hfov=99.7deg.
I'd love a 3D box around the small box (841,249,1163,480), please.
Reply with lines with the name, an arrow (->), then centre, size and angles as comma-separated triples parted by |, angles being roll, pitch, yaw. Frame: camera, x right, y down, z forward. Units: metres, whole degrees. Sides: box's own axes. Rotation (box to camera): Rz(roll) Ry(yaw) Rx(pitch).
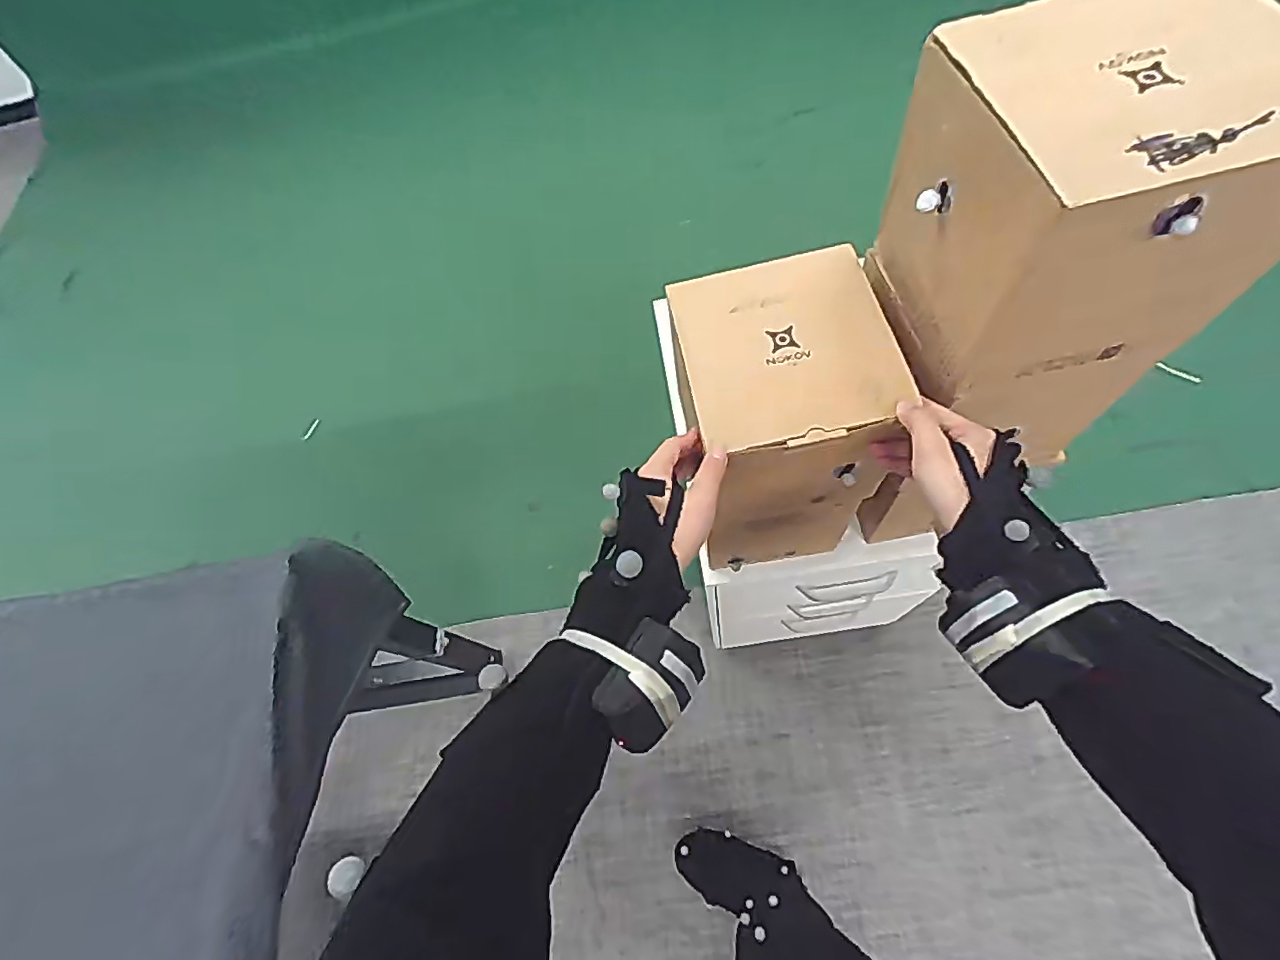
small box -> 0.311, -0.114, 0.515 | 0.168, 0.176, 0.179 | -13, 63, 2

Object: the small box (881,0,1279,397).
small box -> 0.288, -0.185, 0.369 | 0.168, 0.176, 0.179 | -11, 62, 4
